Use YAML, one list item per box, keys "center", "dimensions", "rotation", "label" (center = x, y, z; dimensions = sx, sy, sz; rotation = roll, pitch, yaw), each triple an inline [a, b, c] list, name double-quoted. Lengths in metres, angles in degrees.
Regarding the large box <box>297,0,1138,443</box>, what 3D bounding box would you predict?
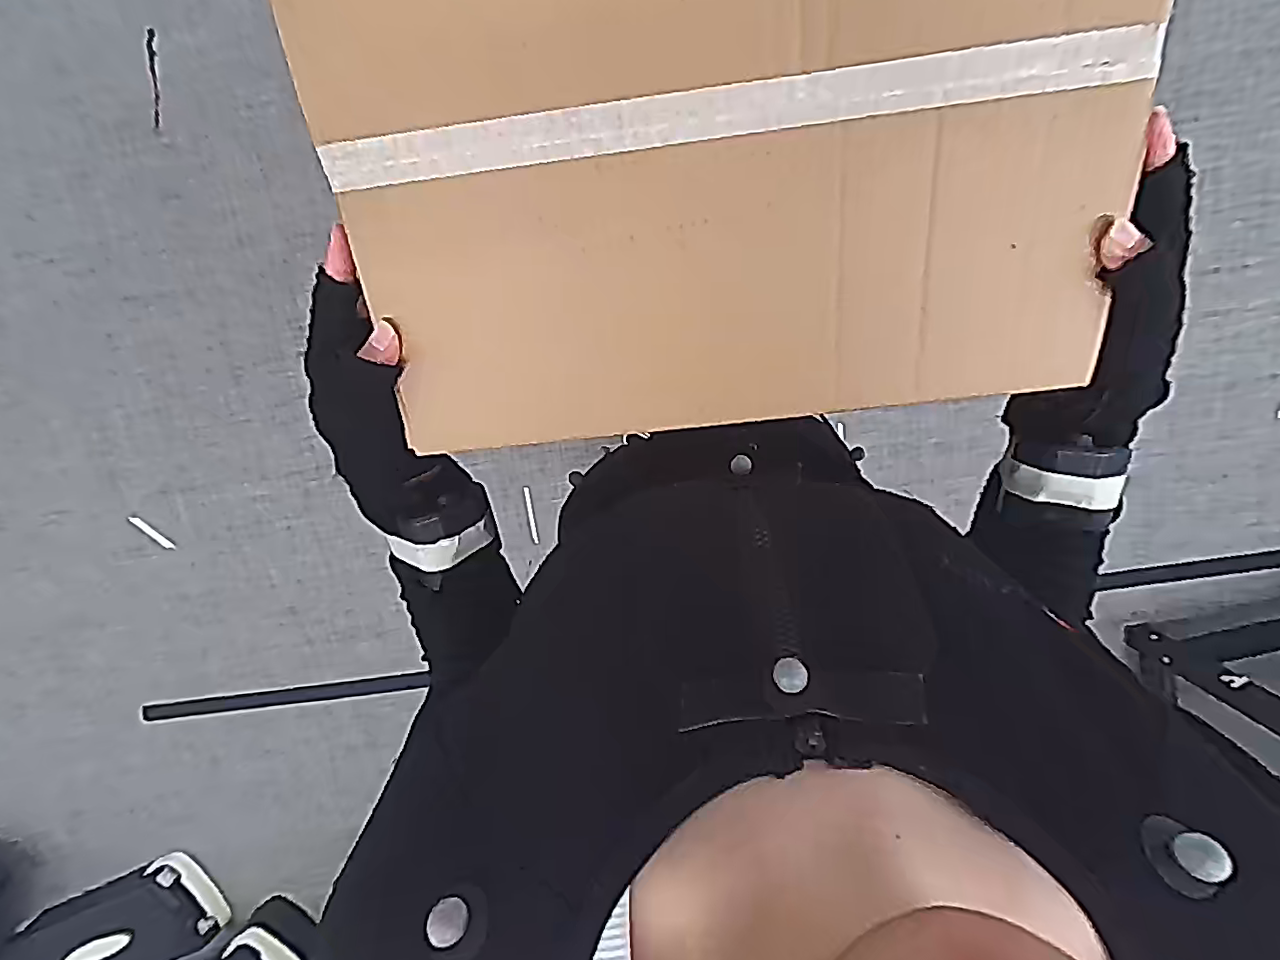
- center: [0.041, -0.242, 0.415]
  dimensions: [0.408, 0.320, 0.320]
  rotation: [-6, 113, 3]
  label: "large box"
